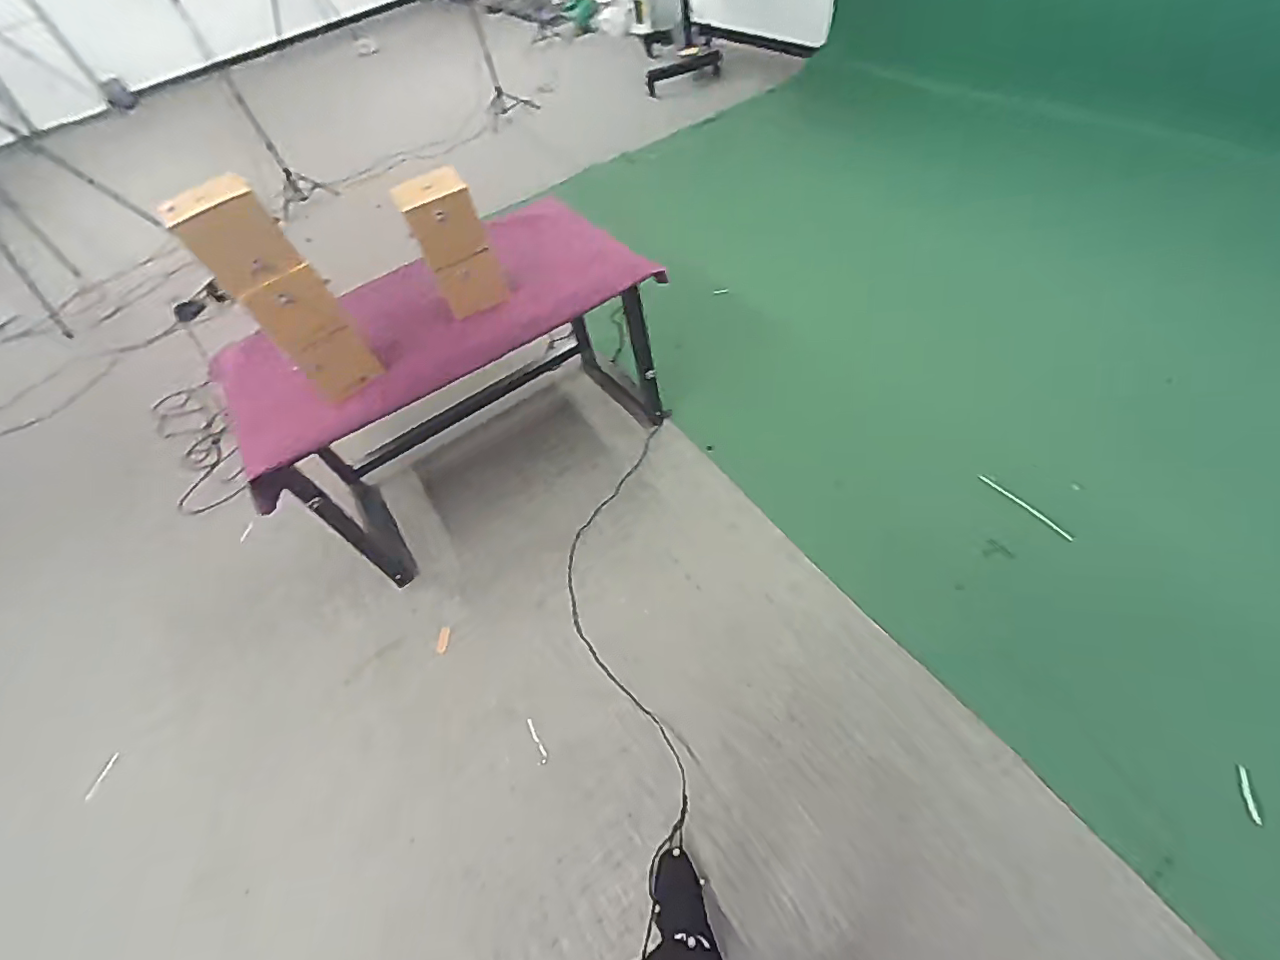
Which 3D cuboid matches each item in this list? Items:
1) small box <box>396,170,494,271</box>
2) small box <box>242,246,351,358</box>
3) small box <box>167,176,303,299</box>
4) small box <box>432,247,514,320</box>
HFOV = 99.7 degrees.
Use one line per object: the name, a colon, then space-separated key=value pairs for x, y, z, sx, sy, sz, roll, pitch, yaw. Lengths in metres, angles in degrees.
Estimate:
small box: x=-0.519 y=-0.692 z=1.451 sx=0.179 sy=0.176 sz=0.168 roll=-27 pitch=54 yaw=-9
small box: x=-0.838 y=-0.431 z=1.316 sx=0.179 sy=0.176 sz=0.168 roll=-38 pitch=54 yaw=-17
small box: x=-0.882 y=-0.534 z=1.195 sx=0.179 sy=0.176 sz=0.168 roll=-37 pitch=54 yaw=-16
small box: x=-0.495 y=-0.598 z=1.582 sx=0.179 sy=0.176 sz=0.168 roll=-26 pitch=53 yaw=-10
